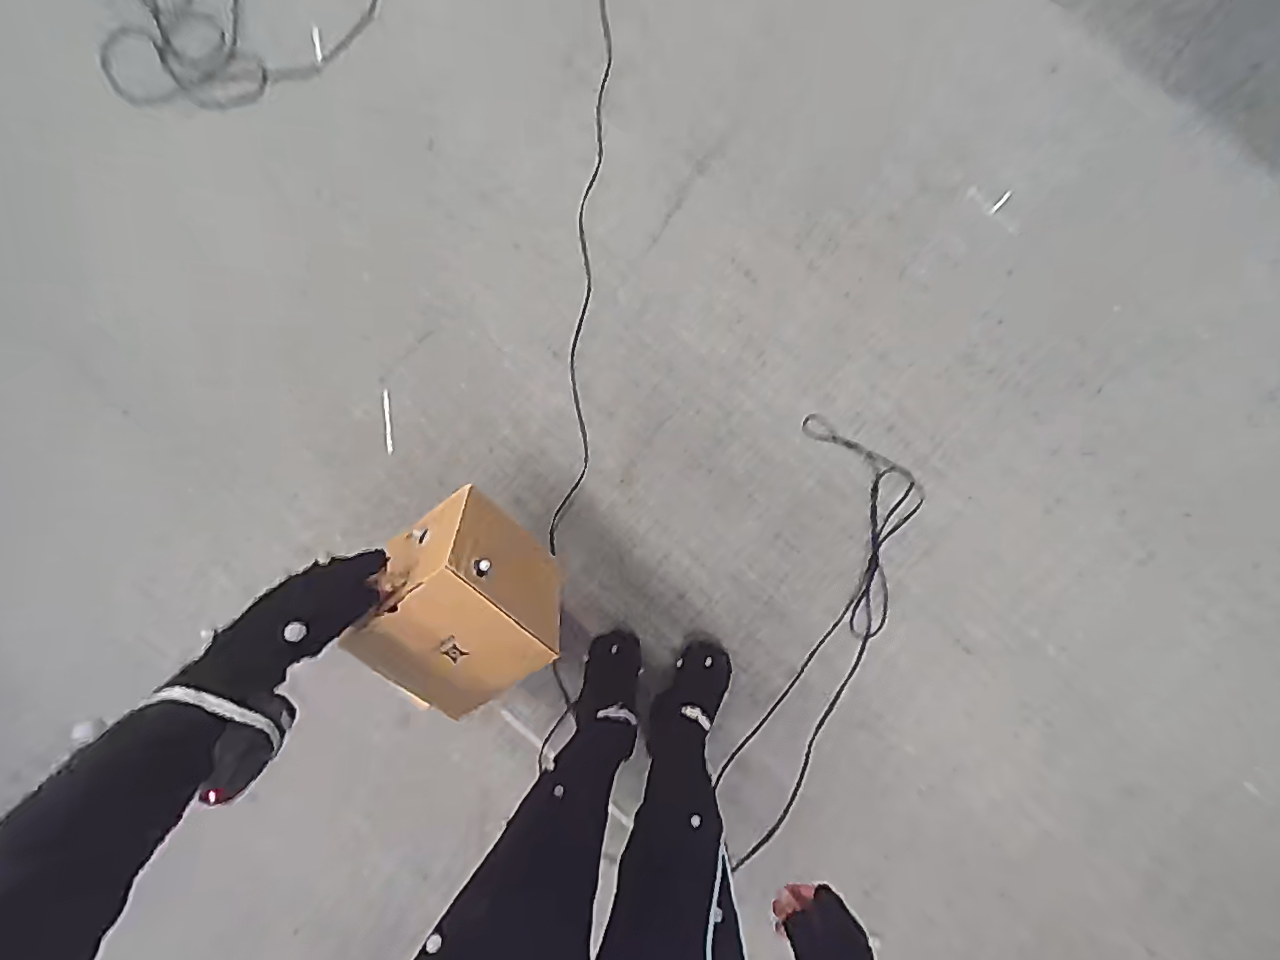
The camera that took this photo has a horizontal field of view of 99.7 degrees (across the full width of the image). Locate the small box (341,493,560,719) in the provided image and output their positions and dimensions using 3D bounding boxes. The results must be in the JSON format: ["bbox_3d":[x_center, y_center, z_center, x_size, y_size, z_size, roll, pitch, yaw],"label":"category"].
[{"bbox_3d":[-0.212,0.148,0.661,0.168,0.176,0.179,-37,118,14],"label":"small box"}]
